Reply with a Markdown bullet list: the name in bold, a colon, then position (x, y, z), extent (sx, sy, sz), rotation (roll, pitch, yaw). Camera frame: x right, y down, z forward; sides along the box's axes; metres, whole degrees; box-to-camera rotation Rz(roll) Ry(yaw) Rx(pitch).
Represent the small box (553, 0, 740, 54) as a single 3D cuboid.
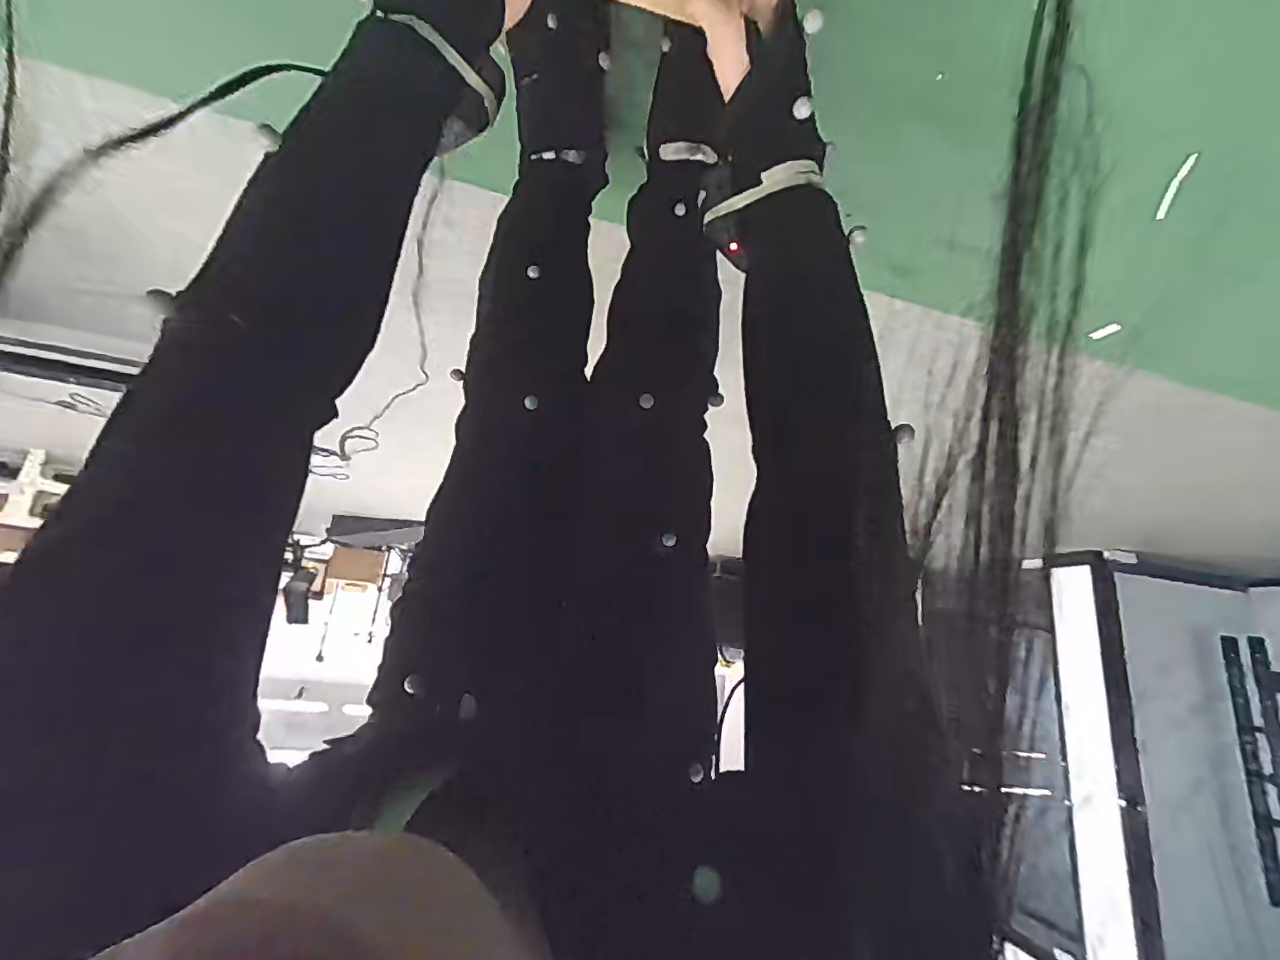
- **small box**: position (0.015, -0.466, 0.377), extent (0.168, 0.176, 0.179), rotation (6, 164, -14)
